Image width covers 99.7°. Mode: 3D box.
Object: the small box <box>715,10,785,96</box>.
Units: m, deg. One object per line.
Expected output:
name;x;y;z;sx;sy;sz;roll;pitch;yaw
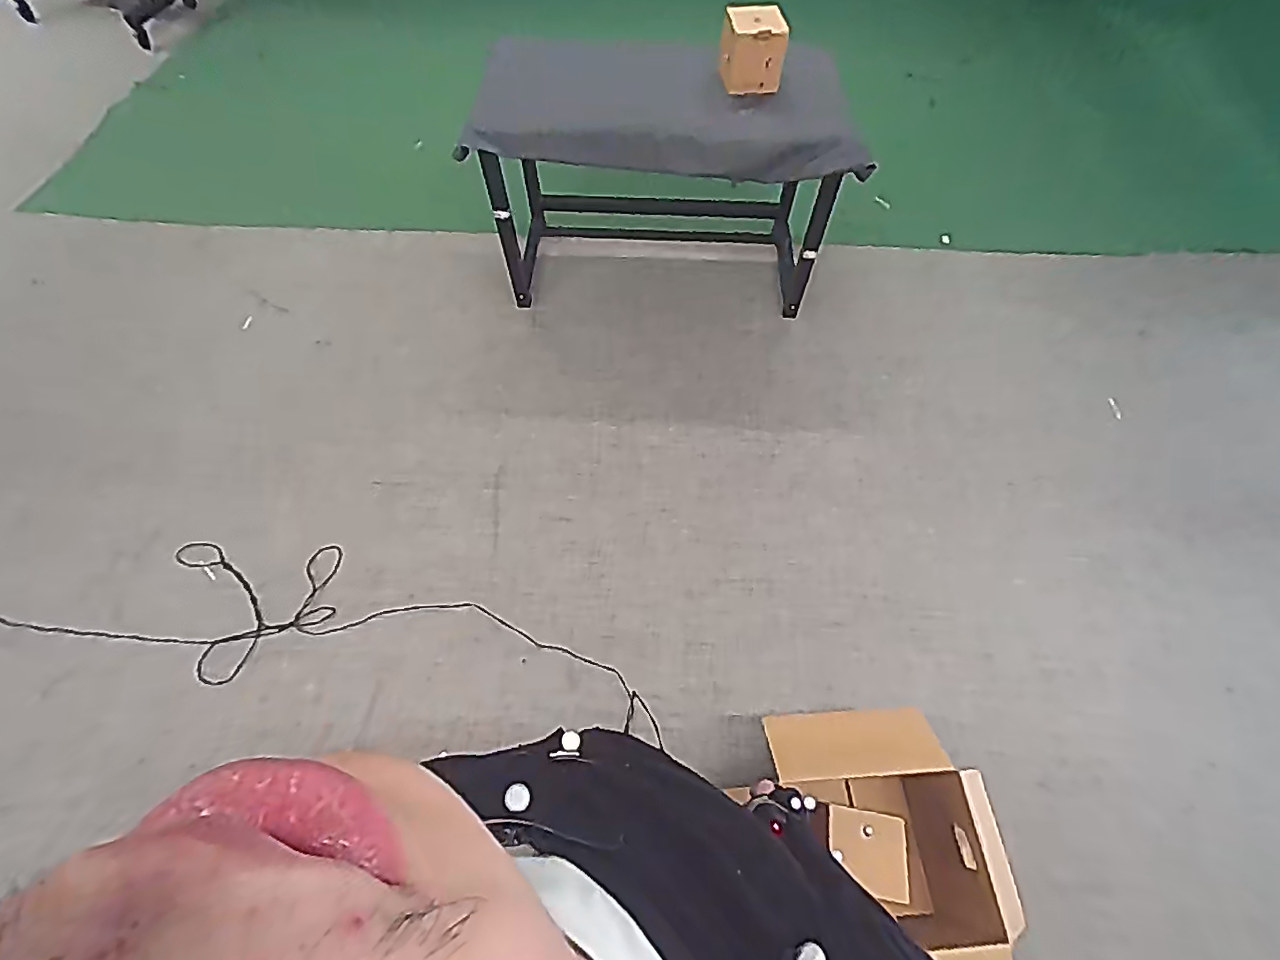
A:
small box;0.344;-1.355;1.720;0.168;0.176;0.179;-4;60;-6
